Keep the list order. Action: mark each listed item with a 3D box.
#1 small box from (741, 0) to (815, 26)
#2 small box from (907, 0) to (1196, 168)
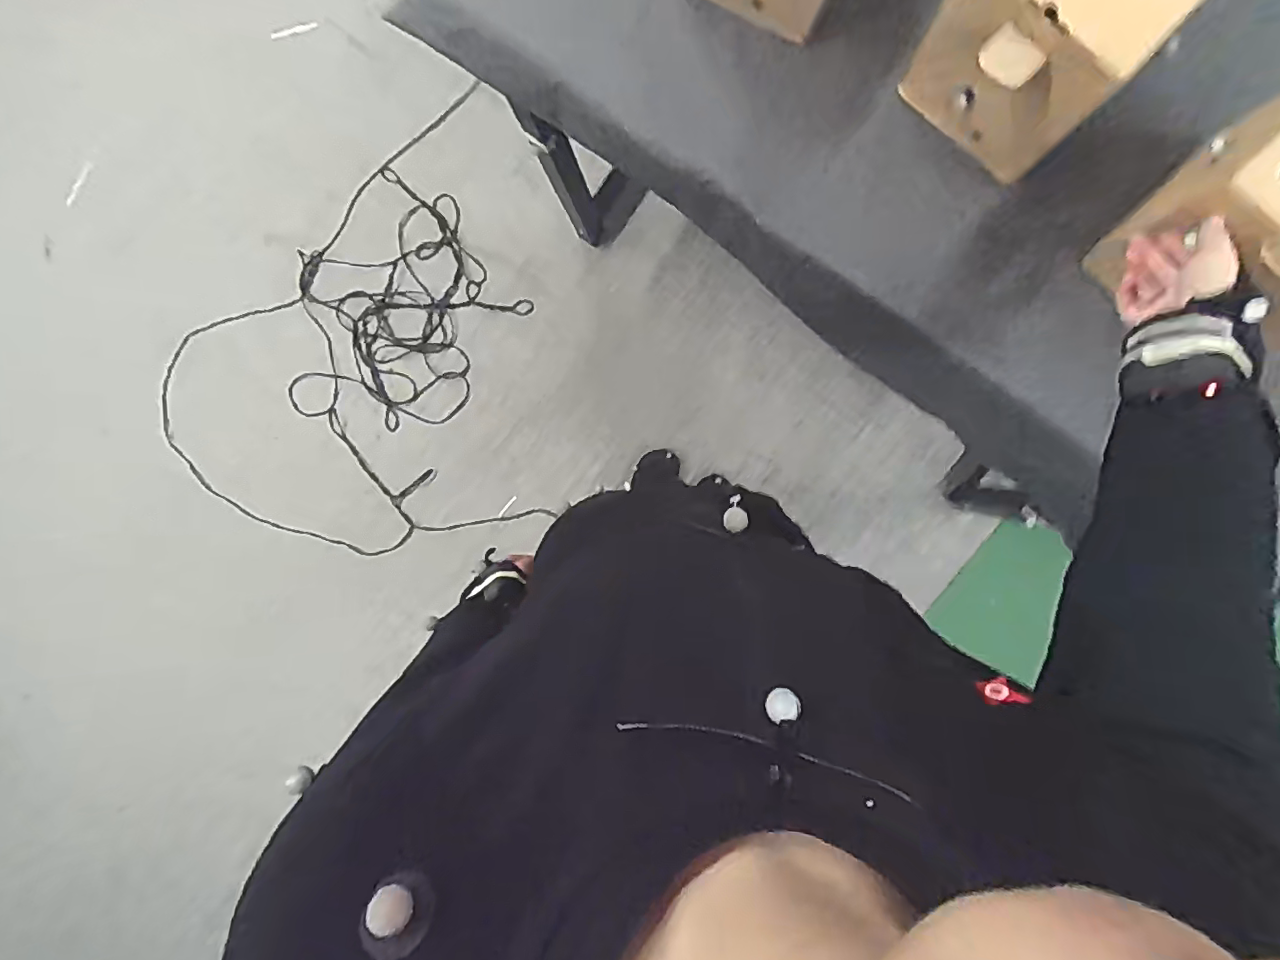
[{"bbox_3d":[0.137,-0.603,0.518,0.168,0.176,0.179,28,93,3],"label":"small box"},{"bbox_3d":[0.389,-0.444,0.499,0.168,0.176,0.179,42,95,2],"label":"small box"}]
